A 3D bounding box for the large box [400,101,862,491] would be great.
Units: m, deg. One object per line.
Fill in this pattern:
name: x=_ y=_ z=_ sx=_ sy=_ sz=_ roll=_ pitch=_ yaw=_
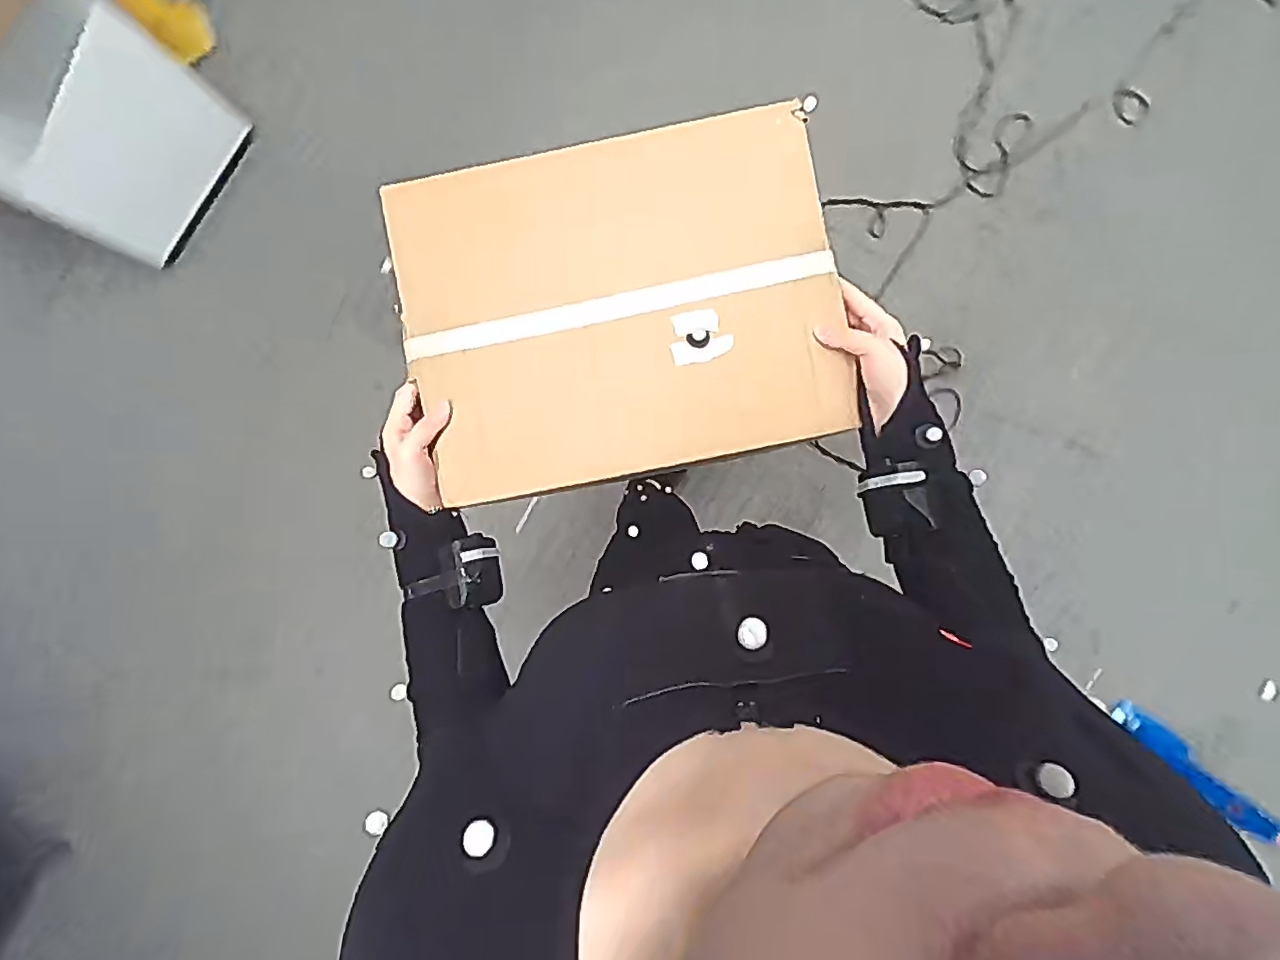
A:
large box: x=-0.010 y=-0.173 z=0.663 sx=0.408 sy=0.320 sz=0.320 roll=-10 pitch=90 yaw=0
